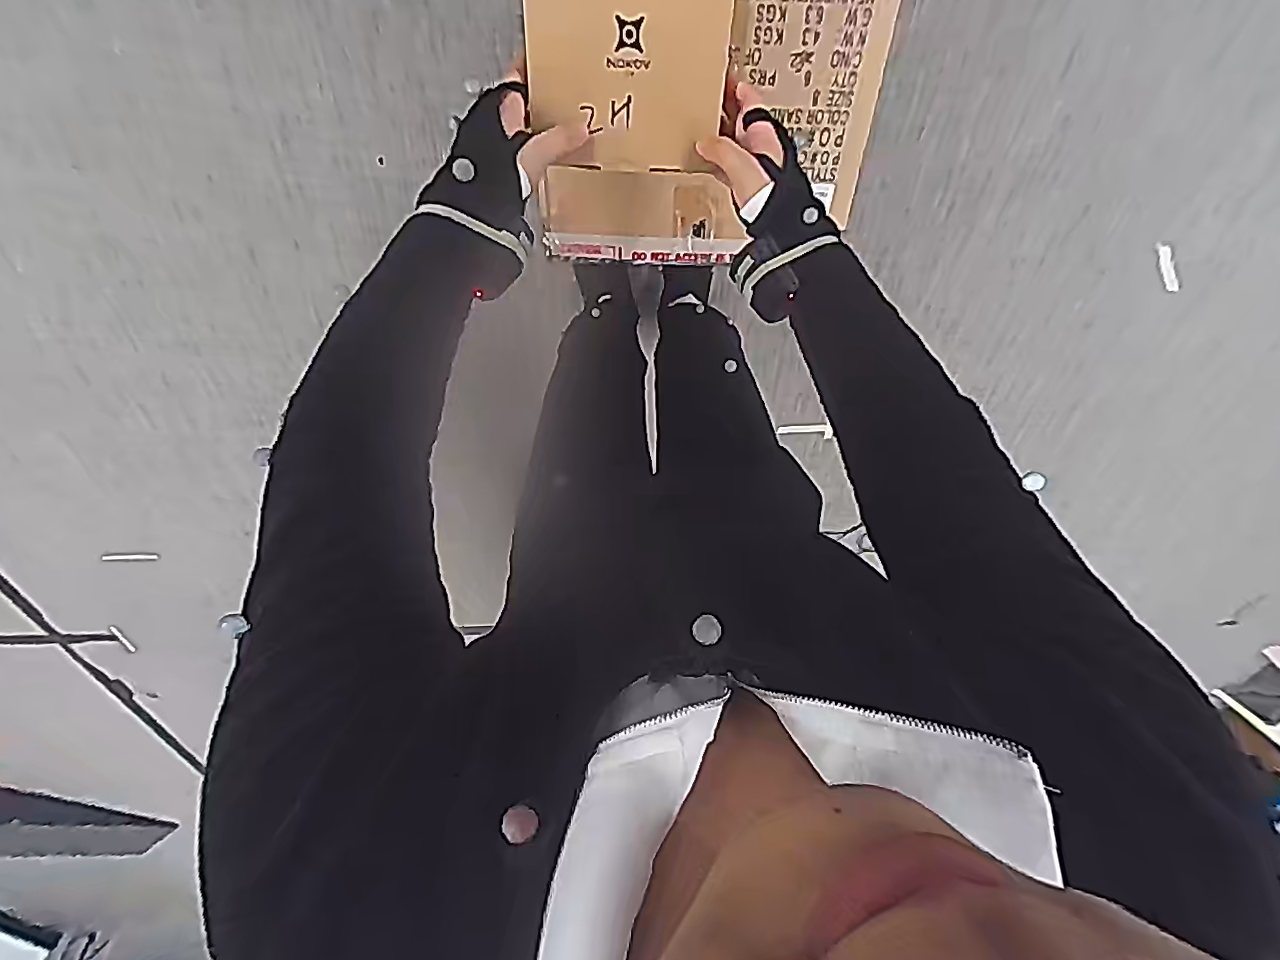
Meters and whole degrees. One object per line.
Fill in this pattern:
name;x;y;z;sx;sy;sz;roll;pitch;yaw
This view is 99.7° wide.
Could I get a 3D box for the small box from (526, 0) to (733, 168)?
small box;-0.013;-0.406;0.499;0.168;0.176;0.179;1;130;-3
